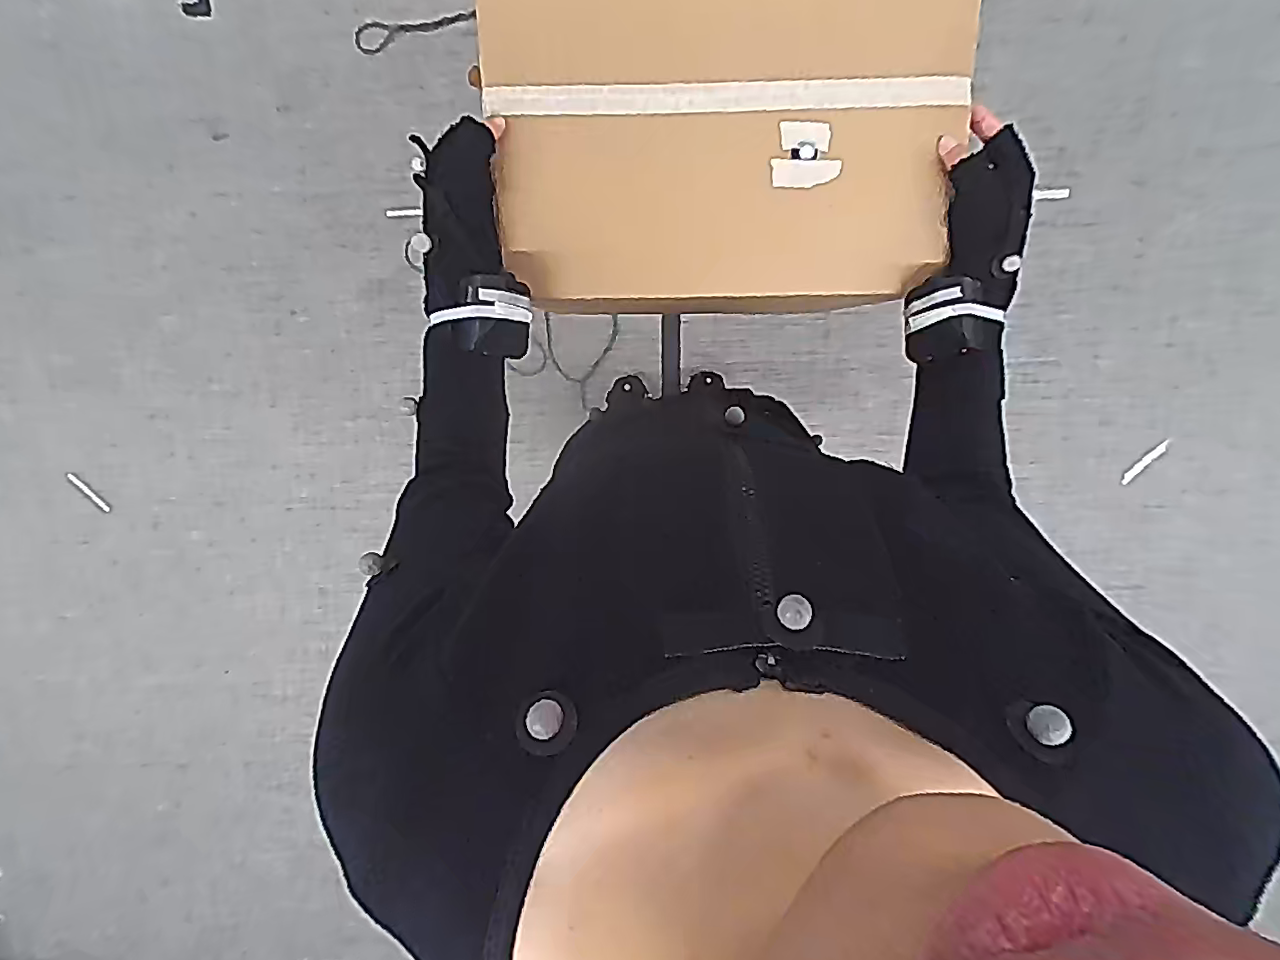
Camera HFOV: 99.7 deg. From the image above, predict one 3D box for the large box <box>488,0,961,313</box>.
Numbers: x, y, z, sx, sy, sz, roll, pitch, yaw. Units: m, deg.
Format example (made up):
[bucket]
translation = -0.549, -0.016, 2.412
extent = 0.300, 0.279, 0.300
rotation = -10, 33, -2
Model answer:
[large box]
translation = 0.071, -0.365, 0.616
extent = 0.408, 0.320, 0.320
rotation = -1, 105, 0
